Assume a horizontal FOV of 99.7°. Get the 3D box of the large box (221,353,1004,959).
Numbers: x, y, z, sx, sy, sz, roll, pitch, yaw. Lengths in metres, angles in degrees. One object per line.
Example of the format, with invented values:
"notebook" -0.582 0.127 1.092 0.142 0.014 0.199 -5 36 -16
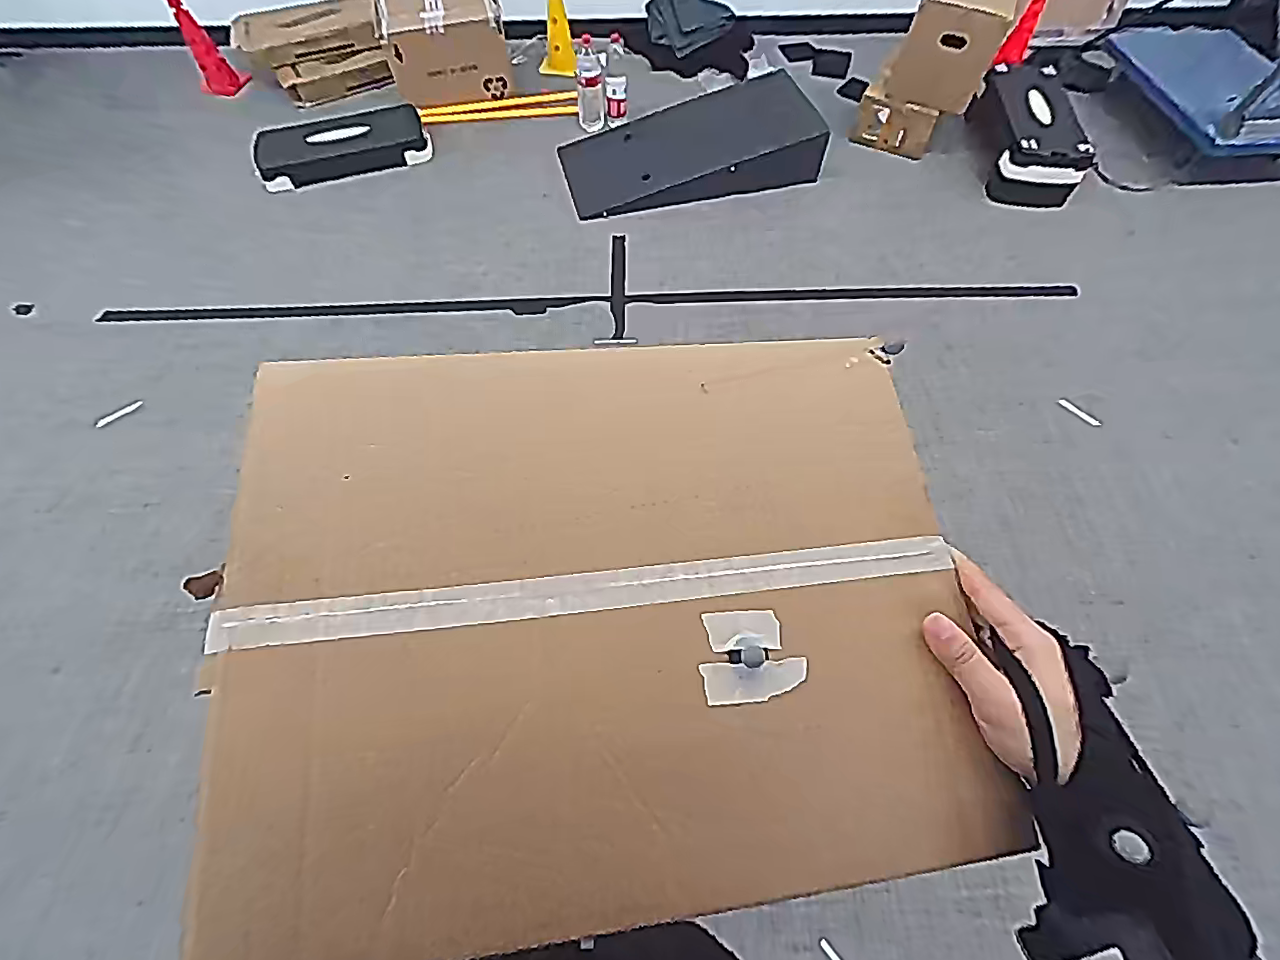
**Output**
"large box" -0.030 0.117 0.455 0.408 0.320 0.320 -4 71 -9
